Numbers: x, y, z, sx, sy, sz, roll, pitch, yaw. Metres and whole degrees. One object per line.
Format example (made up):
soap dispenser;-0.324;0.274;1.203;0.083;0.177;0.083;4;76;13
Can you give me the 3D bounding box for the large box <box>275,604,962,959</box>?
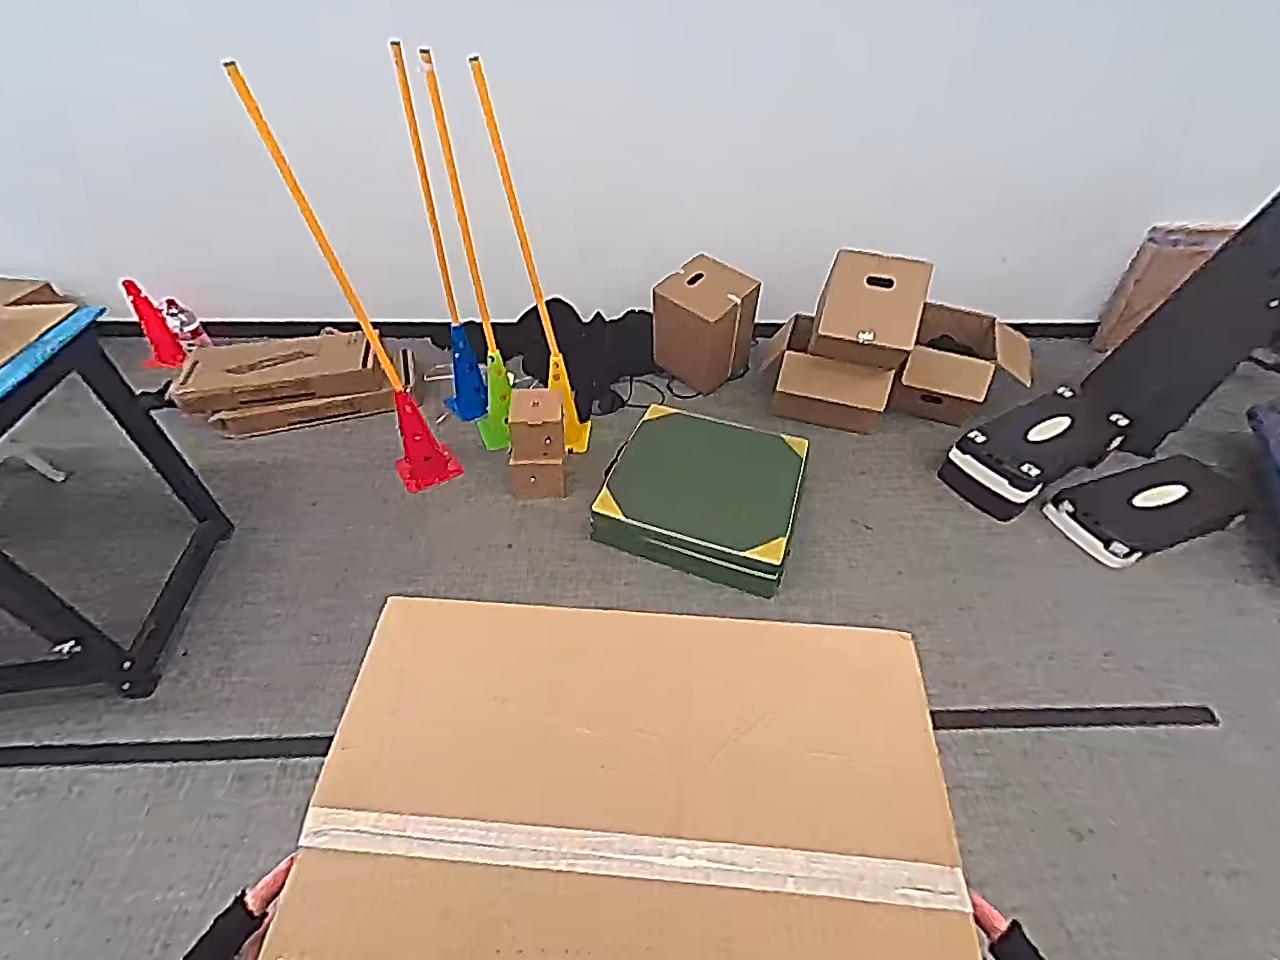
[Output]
large box;-0.007;0.320;0.464;0.408;0.320;0.320;3;56;4
